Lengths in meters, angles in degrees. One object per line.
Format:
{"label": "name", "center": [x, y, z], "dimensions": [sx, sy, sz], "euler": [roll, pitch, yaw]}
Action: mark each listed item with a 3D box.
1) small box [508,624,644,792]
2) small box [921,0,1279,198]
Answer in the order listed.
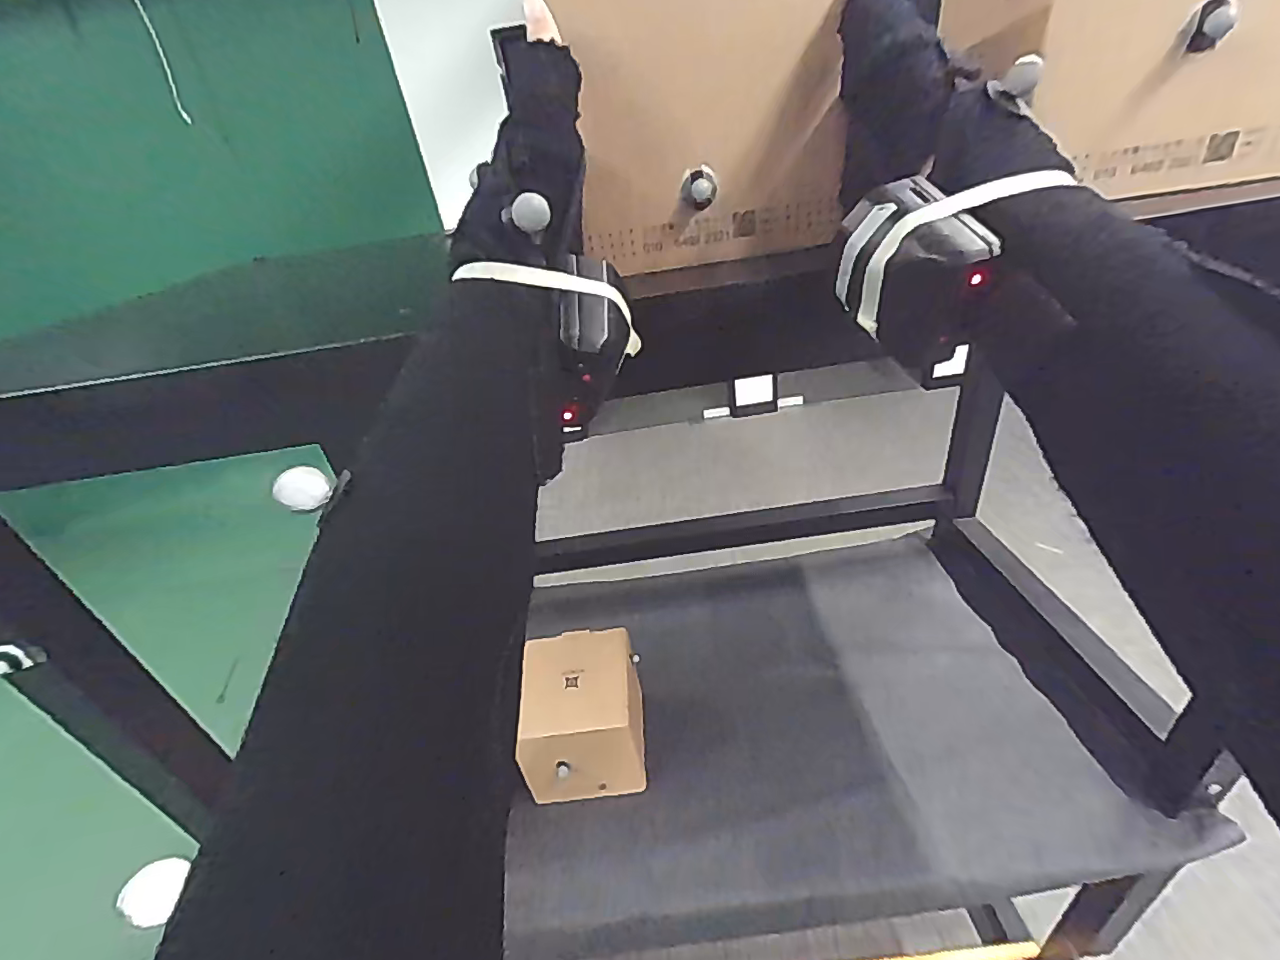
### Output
{"label": "small box", "center": [-0.088, 0.352, 0.829], "dimensions": [0.168, 0.176, 0.179], "euler": [-8, 31, 2]}
{"label": "small box", "center": [0.301, -0.289, 0.350], "dimensions": [0.168, 0.176, 0.179], "euler": [-3, 32, 10]}
